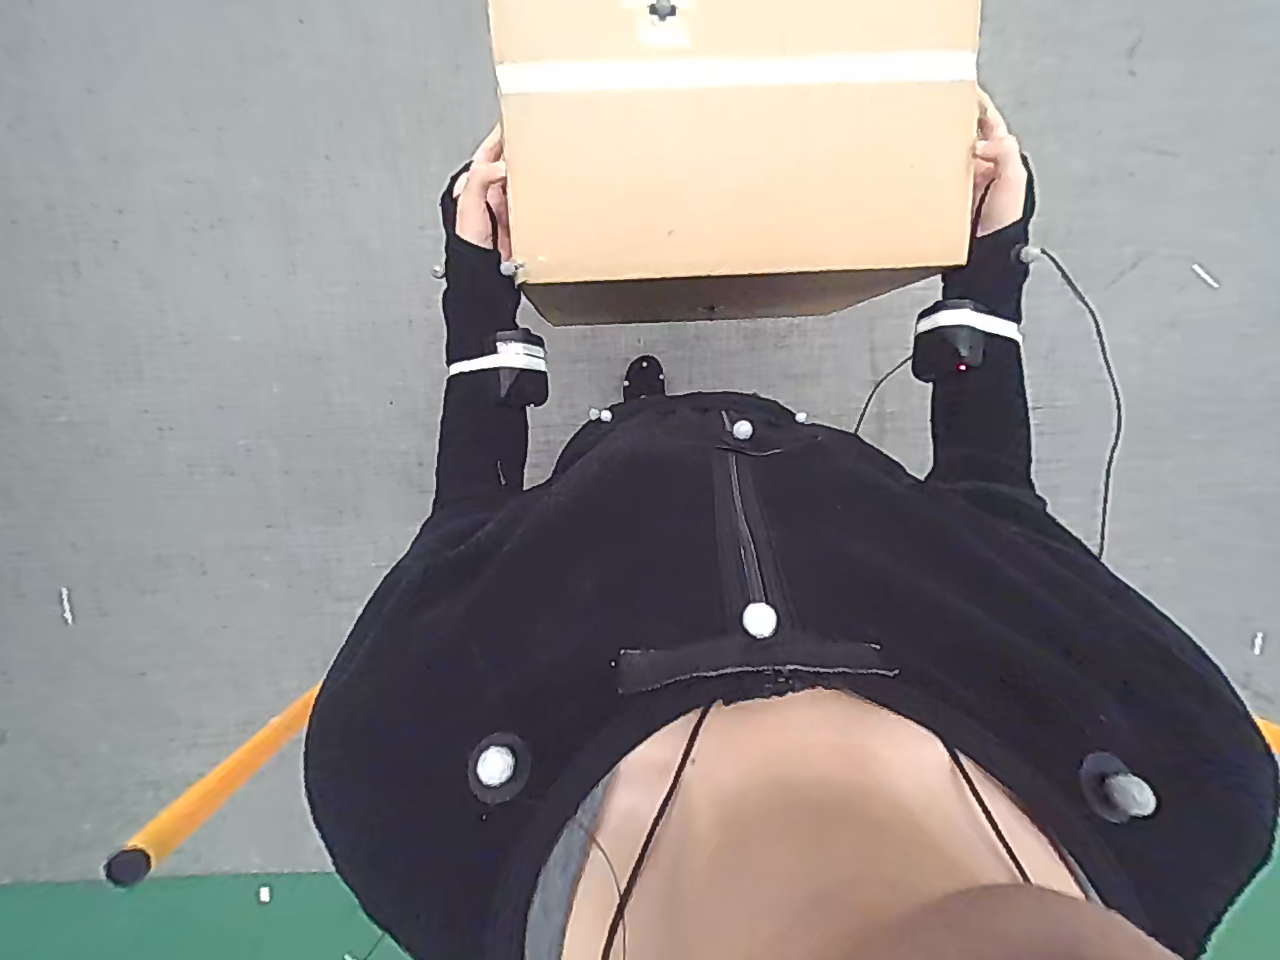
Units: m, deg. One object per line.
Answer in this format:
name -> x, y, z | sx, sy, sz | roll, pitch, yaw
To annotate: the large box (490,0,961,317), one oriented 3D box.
large box -> 0.072, -0.368, 0.609 | 0.408, 0.320, 0.320 | -4, 99, -2
